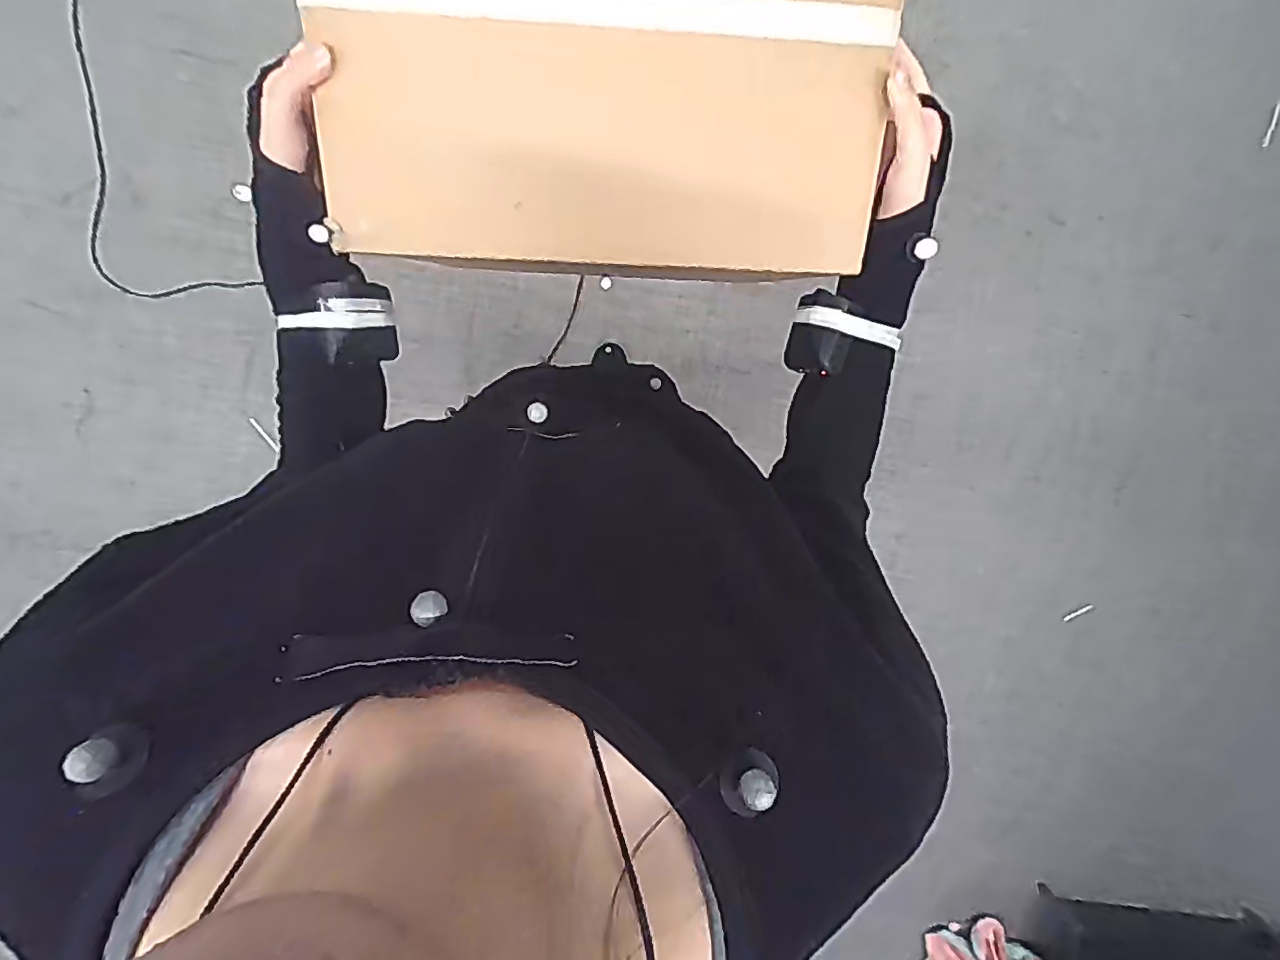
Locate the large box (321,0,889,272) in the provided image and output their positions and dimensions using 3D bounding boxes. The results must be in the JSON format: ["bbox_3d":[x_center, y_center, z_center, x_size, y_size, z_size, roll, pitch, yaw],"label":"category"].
[{"bbox_3d":[-0.027,-0.373,0.521,0.408,0.320,0.320,2,109,-4],"label":"large box"}]
